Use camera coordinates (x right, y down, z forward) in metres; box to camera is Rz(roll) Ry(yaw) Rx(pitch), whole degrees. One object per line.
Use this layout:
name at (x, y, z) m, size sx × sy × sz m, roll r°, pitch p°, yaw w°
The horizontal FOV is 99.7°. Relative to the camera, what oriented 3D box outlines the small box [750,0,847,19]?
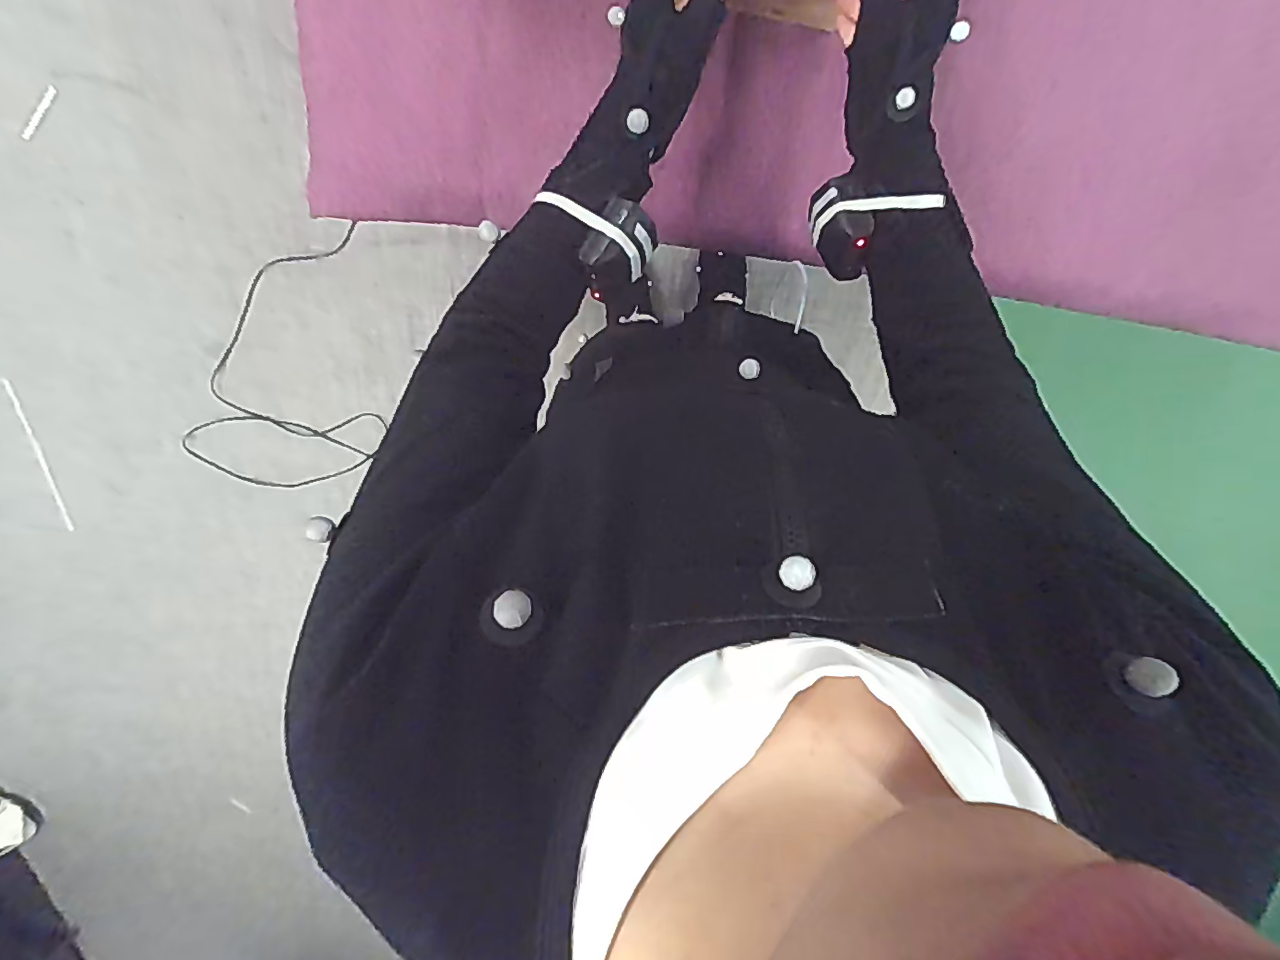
small box at (0.125, -0.506, 0.425) m, size 0.168 × 0.176 × 0.179 m, roll 8°, pitch 115°, yaw -4°
